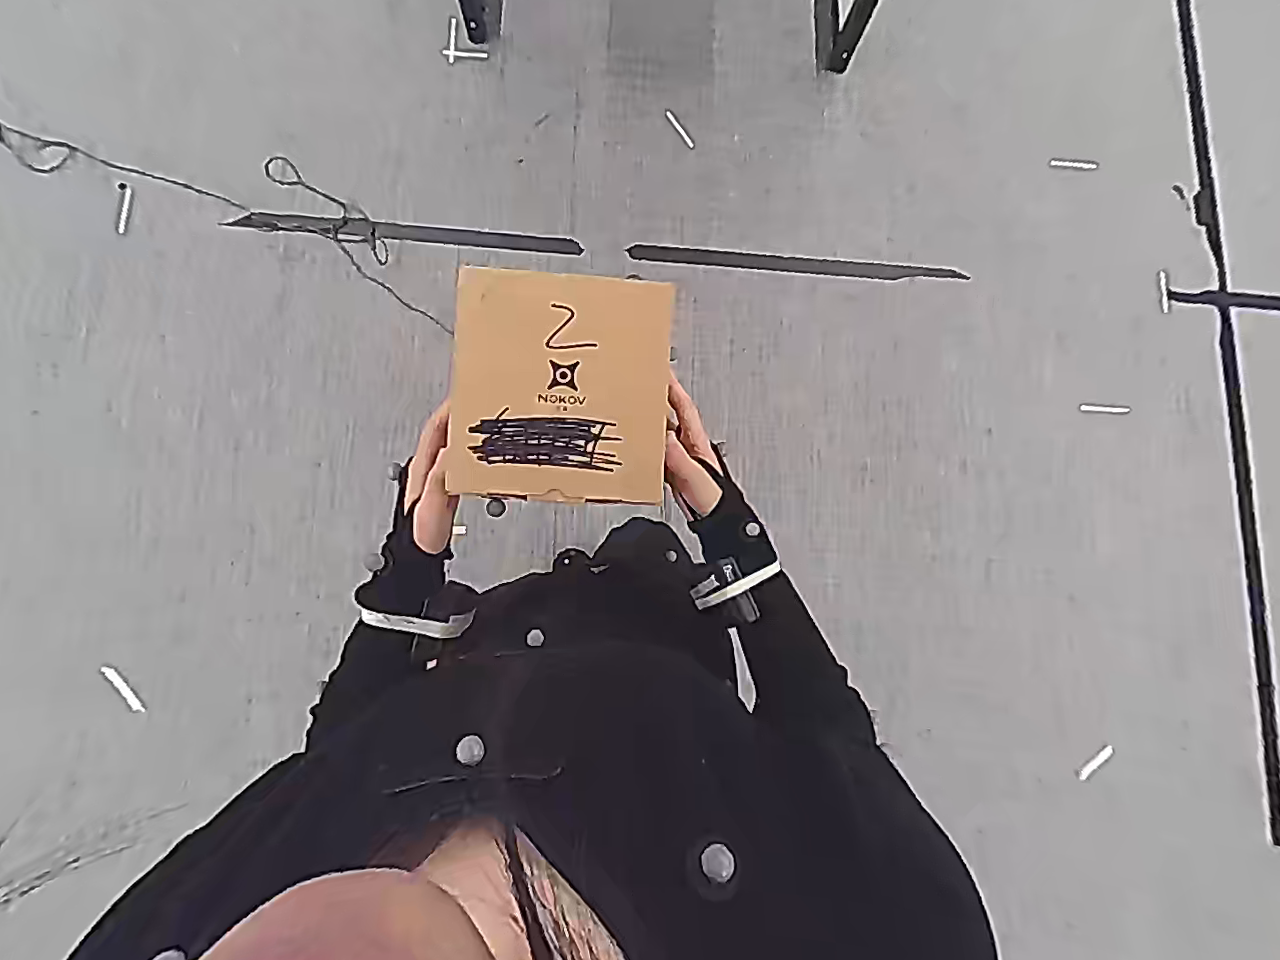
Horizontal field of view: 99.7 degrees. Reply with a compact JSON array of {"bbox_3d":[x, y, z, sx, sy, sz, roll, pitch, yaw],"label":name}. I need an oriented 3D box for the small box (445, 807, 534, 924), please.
[{"bbox_3d":[-0.356,0.916,1.299,0.179,0.176,0.168,-3,84,-4],"label":"small box"}]
